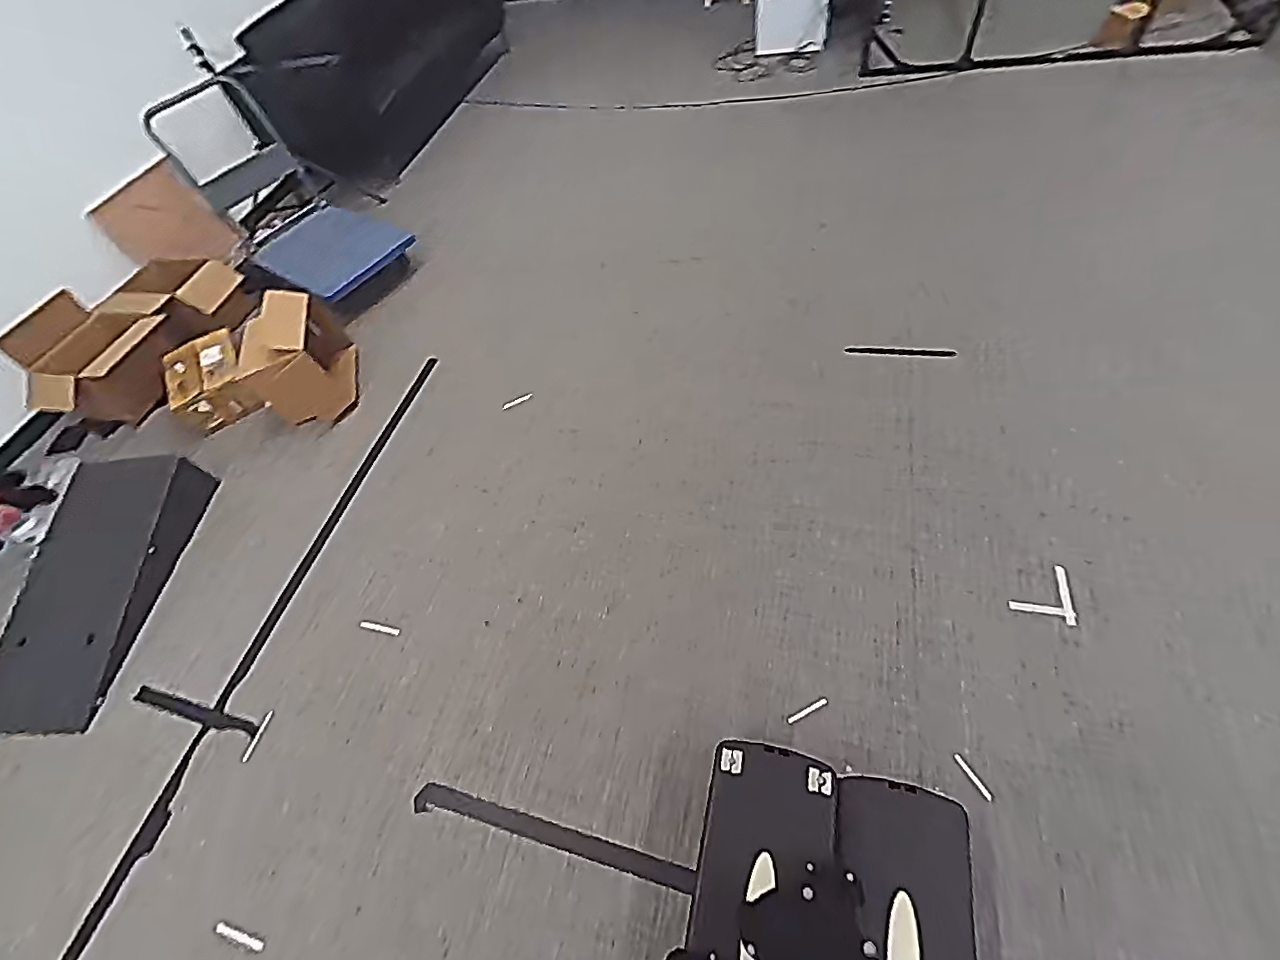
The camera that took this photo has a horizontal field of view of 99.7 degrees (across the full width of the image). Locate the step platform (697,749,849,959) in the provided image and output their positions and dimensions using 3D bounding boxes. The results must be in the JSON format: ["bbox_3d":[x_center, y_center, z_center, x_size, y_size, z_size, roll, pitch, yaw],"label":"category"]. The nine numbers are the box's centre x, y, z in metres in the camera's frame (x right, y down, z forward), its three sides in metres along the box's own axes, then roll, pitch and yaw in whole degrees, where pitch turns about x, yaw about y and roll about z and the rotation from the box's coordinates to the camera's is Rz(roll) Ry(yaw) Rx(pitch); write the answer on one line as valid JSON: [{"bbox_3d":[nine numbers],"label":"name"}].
[{"bbox_3d":[0.275,0.953,1.143,0.286,0.204,0.684,6,57,15],"label":"step platform"}]
